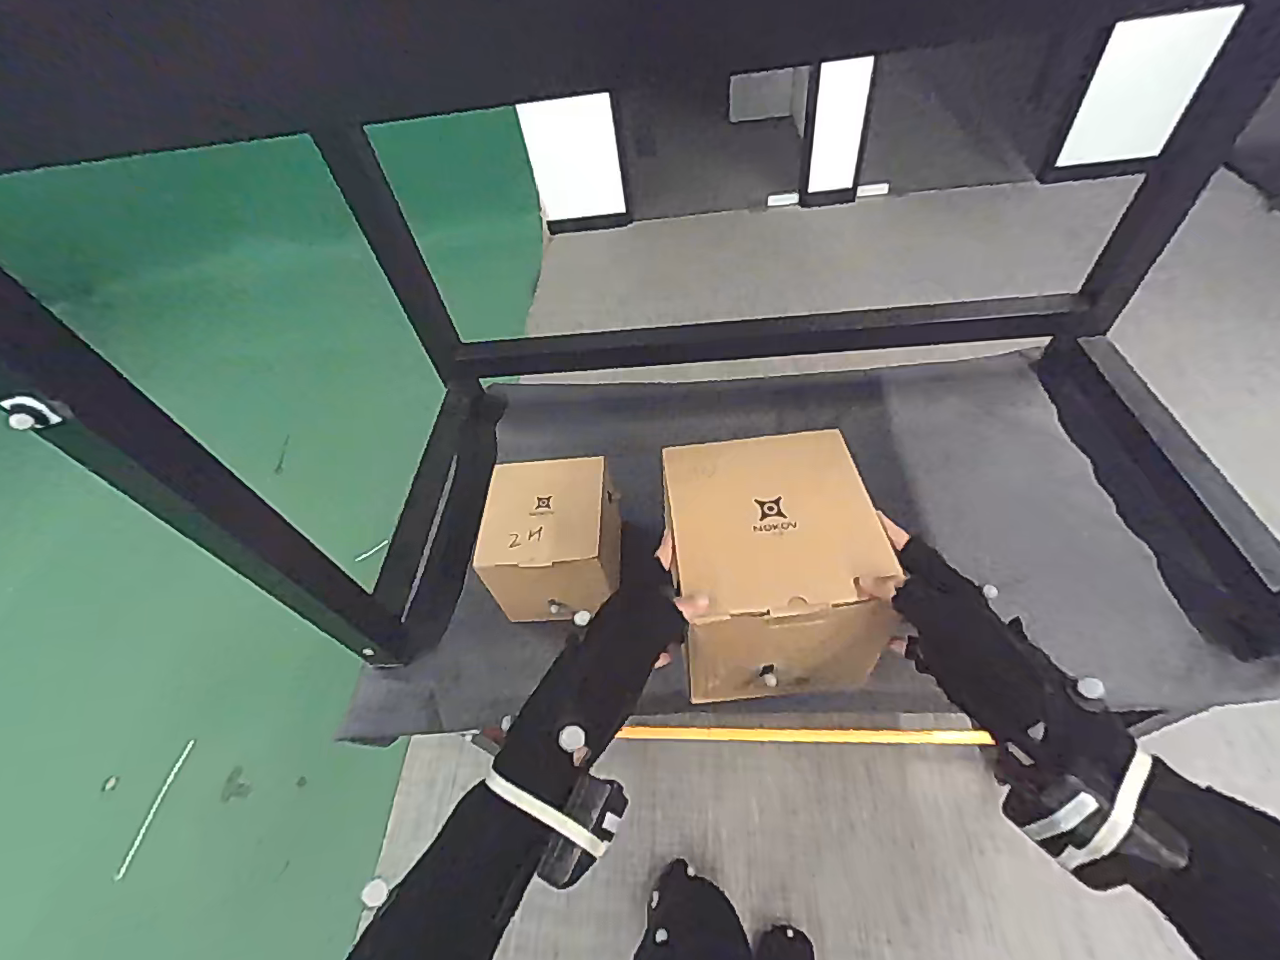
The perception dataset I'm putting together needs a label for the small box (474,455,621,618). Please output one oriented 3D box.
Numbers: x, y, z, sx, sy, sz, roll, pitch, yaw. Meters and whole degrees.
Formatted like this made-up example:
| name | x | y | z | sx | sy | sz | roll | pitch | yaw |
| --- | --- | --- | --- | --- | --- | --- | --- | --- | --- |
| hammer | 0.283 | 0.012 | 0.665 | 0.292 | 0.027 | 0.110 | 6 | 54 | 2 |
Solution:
| name | x | y | z | sx | sy | sz | roll | pitch | yaw |
| --- | --- | --- | --- | --- | --- | --- | --- | --- | --- |
| small box | -0.123 | 0.086 | 0.799 | 0.168 | 0.176 | 0.179 | -4 | 51 | 6 |
